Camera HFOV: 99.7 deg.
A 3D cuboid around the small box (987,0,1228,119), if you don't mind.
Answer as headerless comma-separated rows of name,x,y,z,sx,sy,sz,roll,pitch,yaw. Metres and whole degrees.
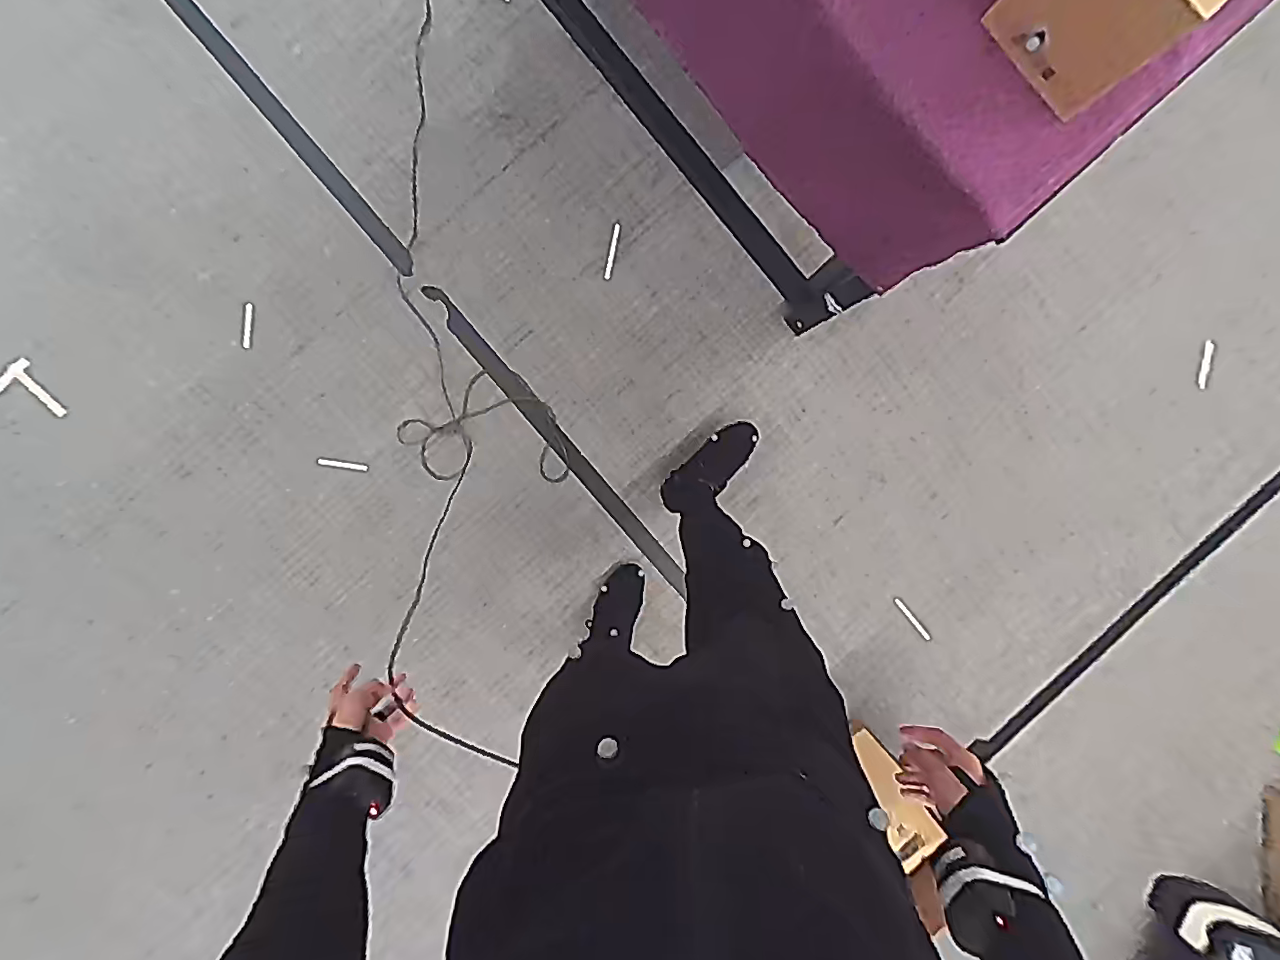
small box,0.541,-0.561,0.596,0.179,0.176,0.168,-45,95,-1
